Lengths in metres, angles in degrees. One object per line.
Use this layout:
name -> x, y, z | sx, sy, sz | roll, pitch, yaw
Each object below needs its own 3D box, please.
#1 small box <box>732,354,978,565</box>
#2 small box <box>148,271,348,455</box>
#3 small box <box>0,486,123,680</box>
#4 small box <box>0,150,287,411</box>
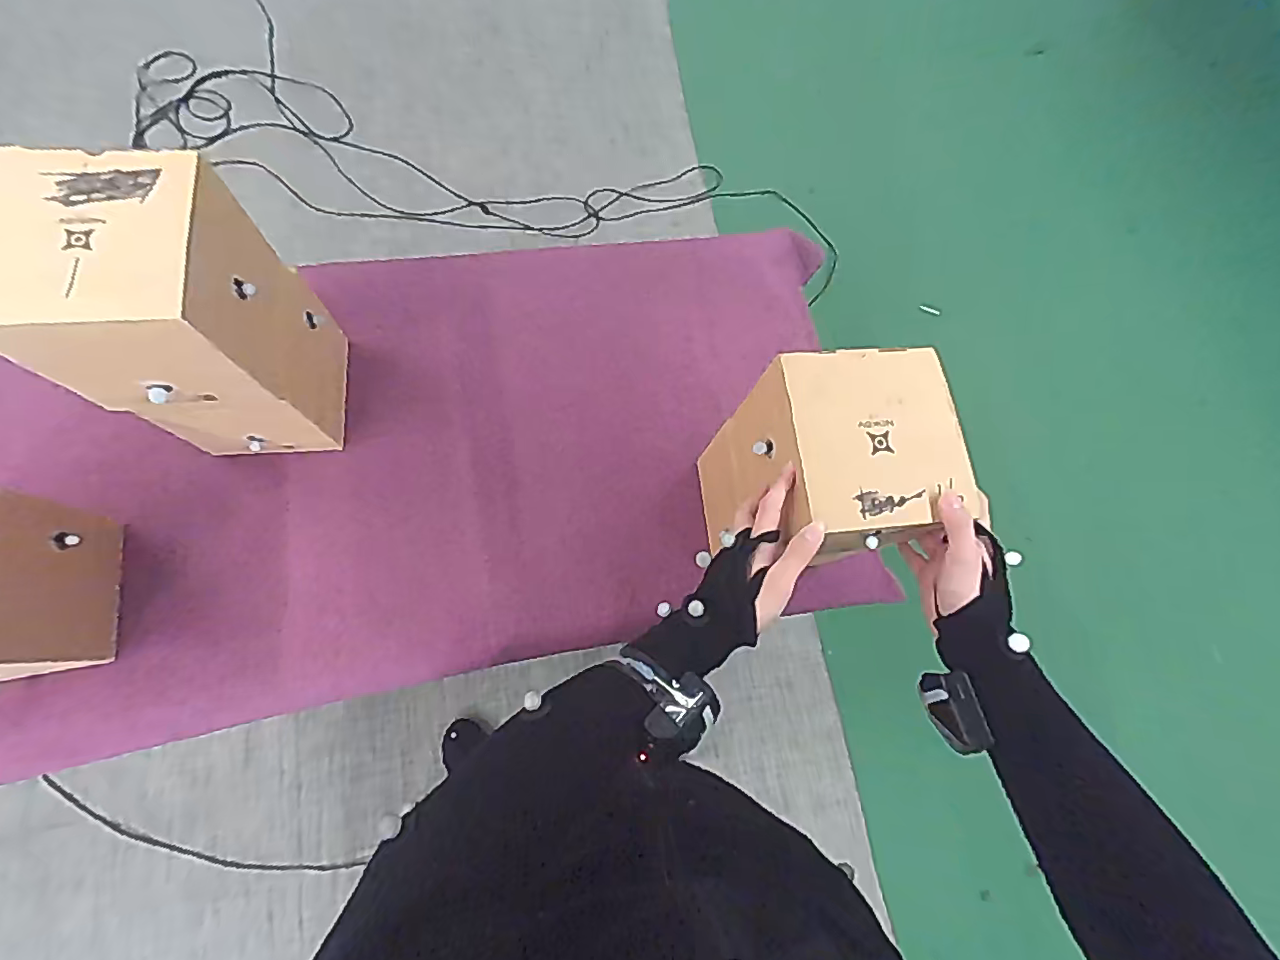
small box -> 0.206, -0.014, 0.573 | 0.168, 0.176, 0.179 | -4, 74, -8
small box -> -0.491, -0.142, 0.687 | 0.168, 0.176, 0.179 | -3, 75, -9
small box -> -0.710, 0.121, 0.578 | 0.168, 0.176, 0.179 | -8, 74, -10
small box -> -0.473, -0.182, 0.529 | 0.168, 0.176, 0.179 | -5, 75, -9
